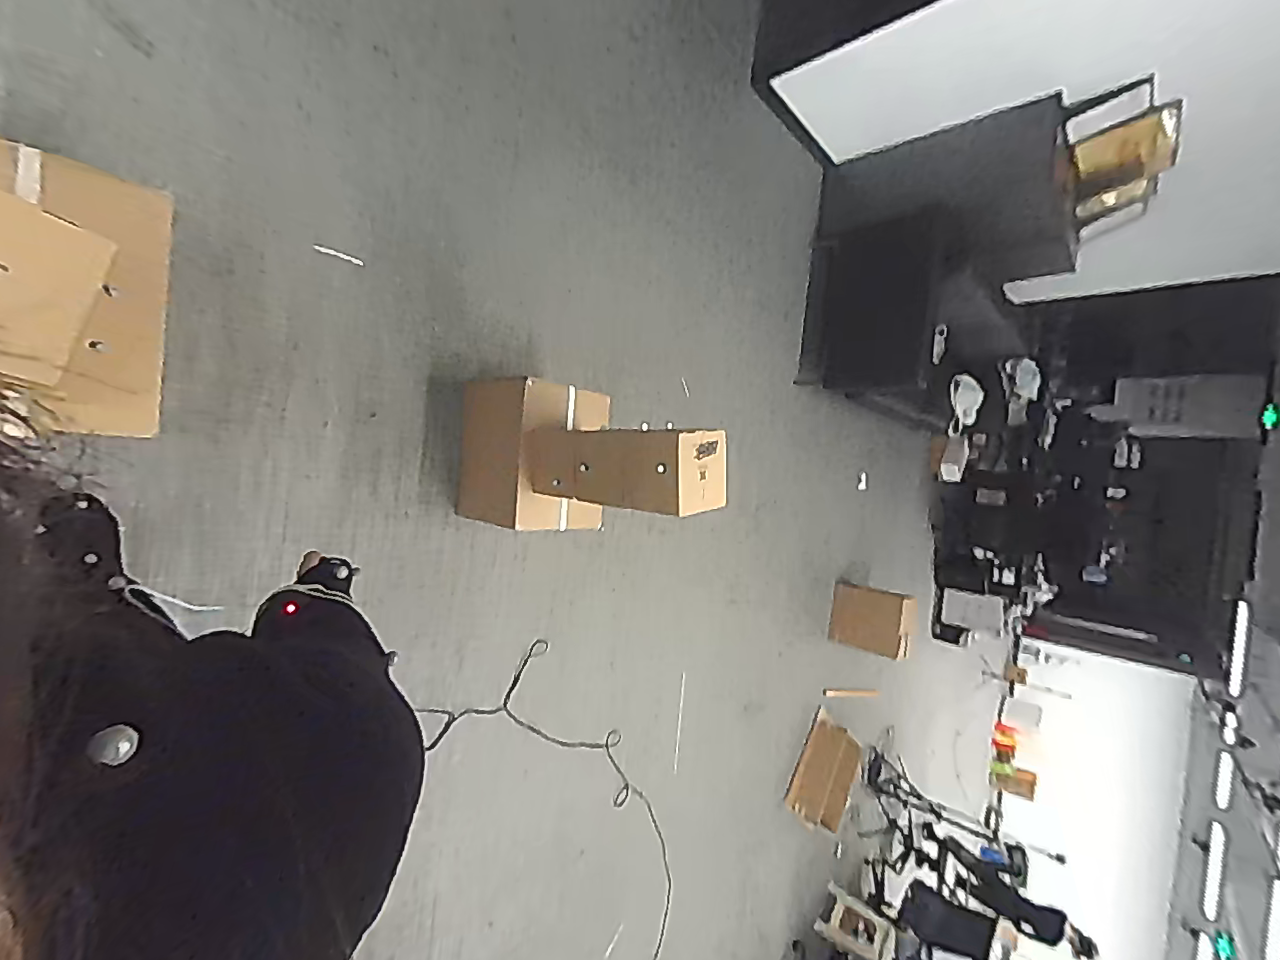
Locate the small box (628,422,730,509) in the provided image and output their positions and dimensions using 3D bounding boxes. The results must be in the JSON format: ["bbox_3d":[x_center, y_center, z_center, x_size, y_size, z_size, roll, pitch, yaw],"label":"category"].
[{"bbox_3d":[0.085,-0.041,1.214,0.168,0.176,0.179,-9,102,-44],"label":"small box"}]

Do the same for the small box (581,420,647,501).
[{"bbox_3d":[-0.032,-0.054,1.330,0.168,0.176,0.179,-8,102,-45],"label":"small box"}]
